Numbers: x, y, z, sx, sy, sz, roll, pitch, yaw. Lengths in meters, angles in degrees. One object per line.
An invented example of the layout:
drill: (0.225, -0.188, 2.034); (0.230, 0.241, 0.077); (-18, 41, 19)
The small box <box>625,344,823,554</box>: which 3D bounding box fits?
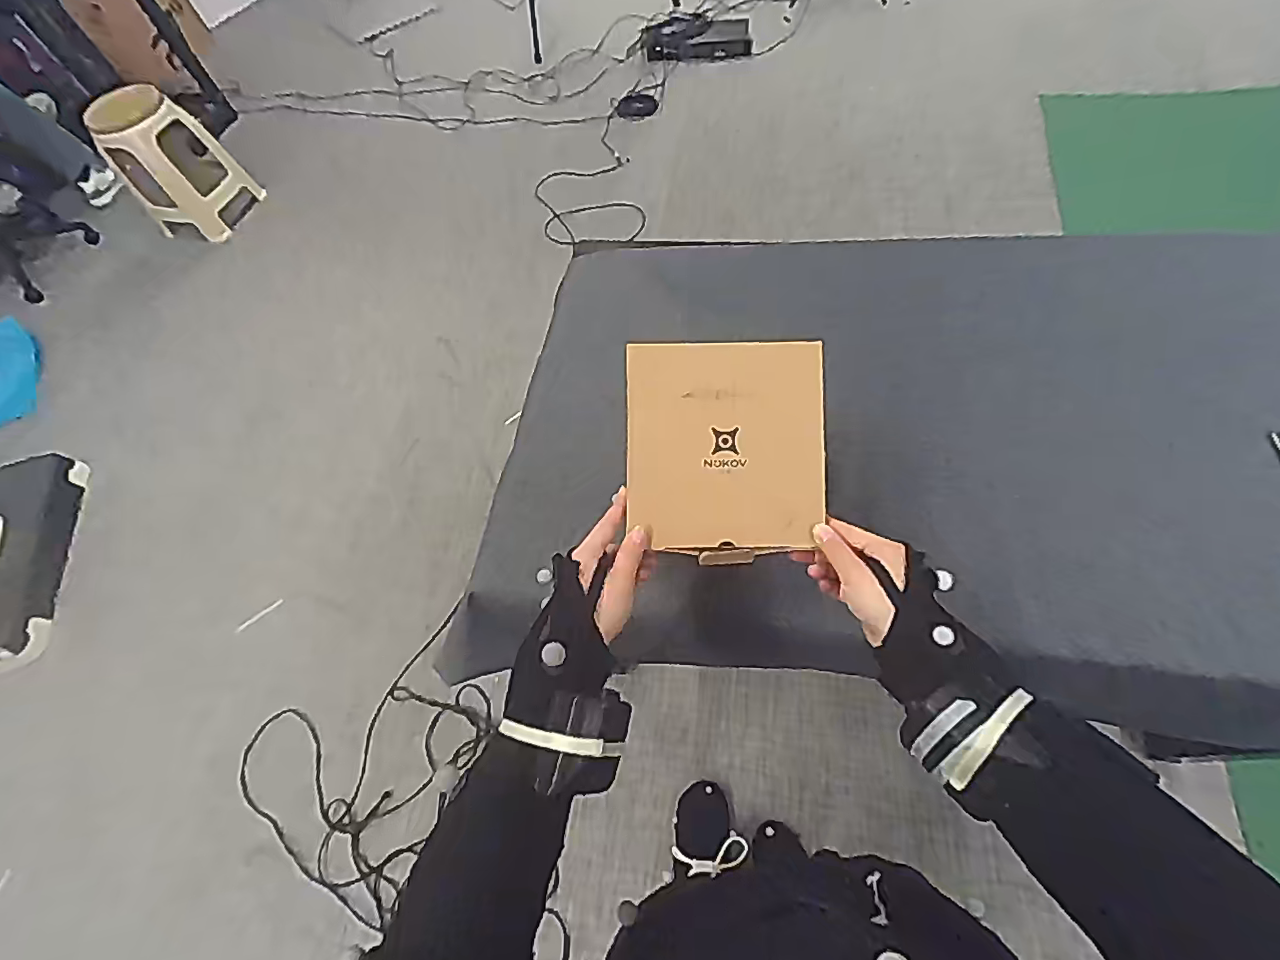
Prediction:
small box: (0.070, -0.023, 0.529); (0.168, 0.176, 0.179); (-1, 86, 0)
